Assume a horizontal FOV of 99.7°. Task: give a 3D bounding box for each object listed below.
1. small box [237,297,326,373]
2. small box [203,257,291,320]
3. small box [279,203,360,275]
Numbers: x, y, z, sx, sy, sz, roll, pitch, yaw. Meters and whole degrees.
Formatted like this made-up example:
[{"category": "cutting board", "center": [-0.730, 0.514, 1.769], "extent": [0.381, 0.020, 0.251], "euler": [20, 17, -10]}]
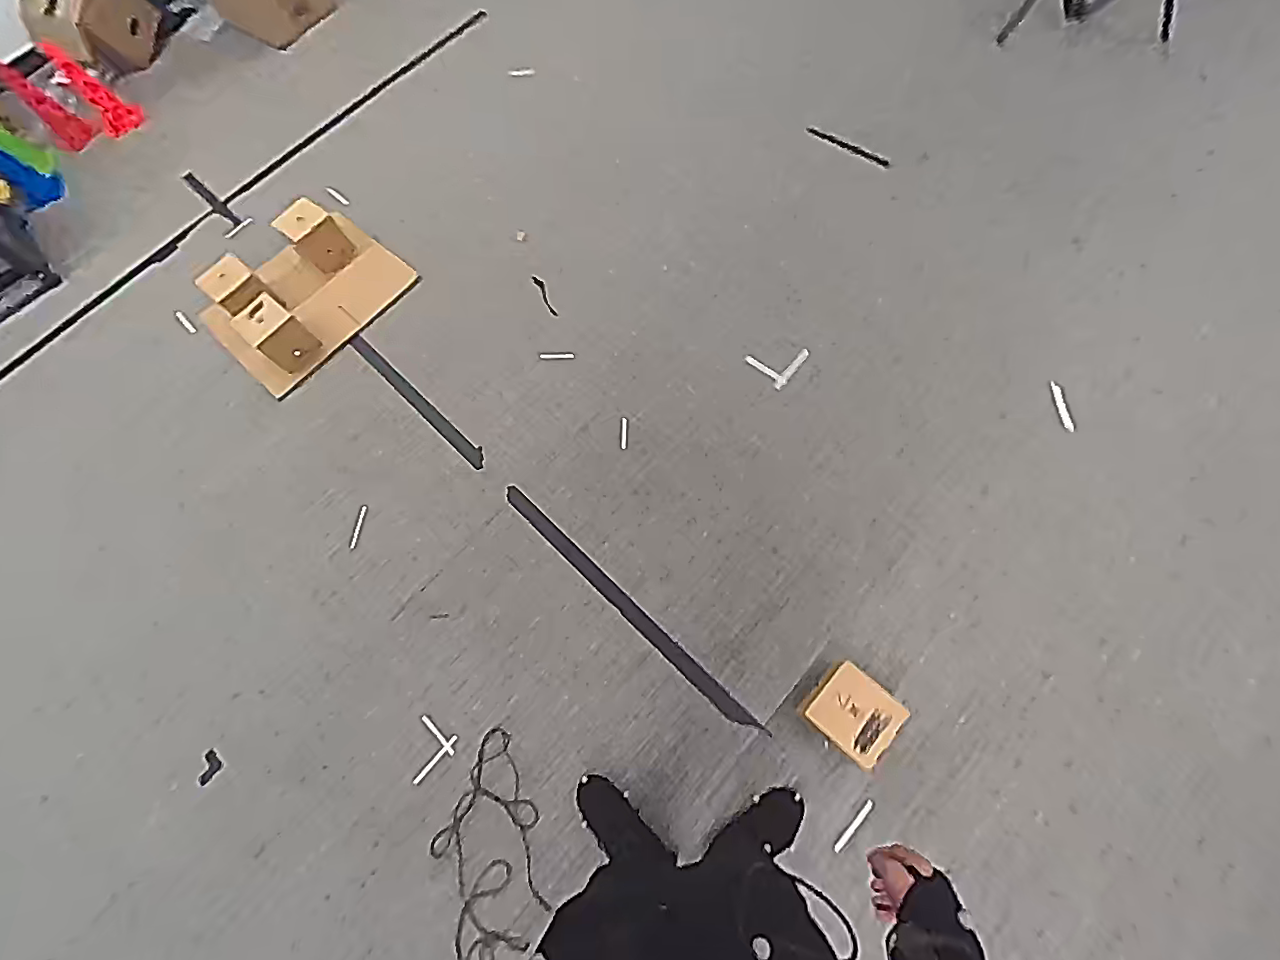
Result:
[{"category": "small box", "center": [-1.292, -0.519, 1.958], "extent": [0.179, 0.176, 0.168], "euler": [38, 78, 18]}, {"category": "small box", "center": [-1.489, -0.700, 2.056], "extent": [0.179, 0.176, 0.168], "euler": [38, 78, 19]}, {"category": "small box", "center": [-1.257, -0.943, 2.130], "extent": [0.179, 0.176, 0.168], "euler": [35, 76, 19]}]
